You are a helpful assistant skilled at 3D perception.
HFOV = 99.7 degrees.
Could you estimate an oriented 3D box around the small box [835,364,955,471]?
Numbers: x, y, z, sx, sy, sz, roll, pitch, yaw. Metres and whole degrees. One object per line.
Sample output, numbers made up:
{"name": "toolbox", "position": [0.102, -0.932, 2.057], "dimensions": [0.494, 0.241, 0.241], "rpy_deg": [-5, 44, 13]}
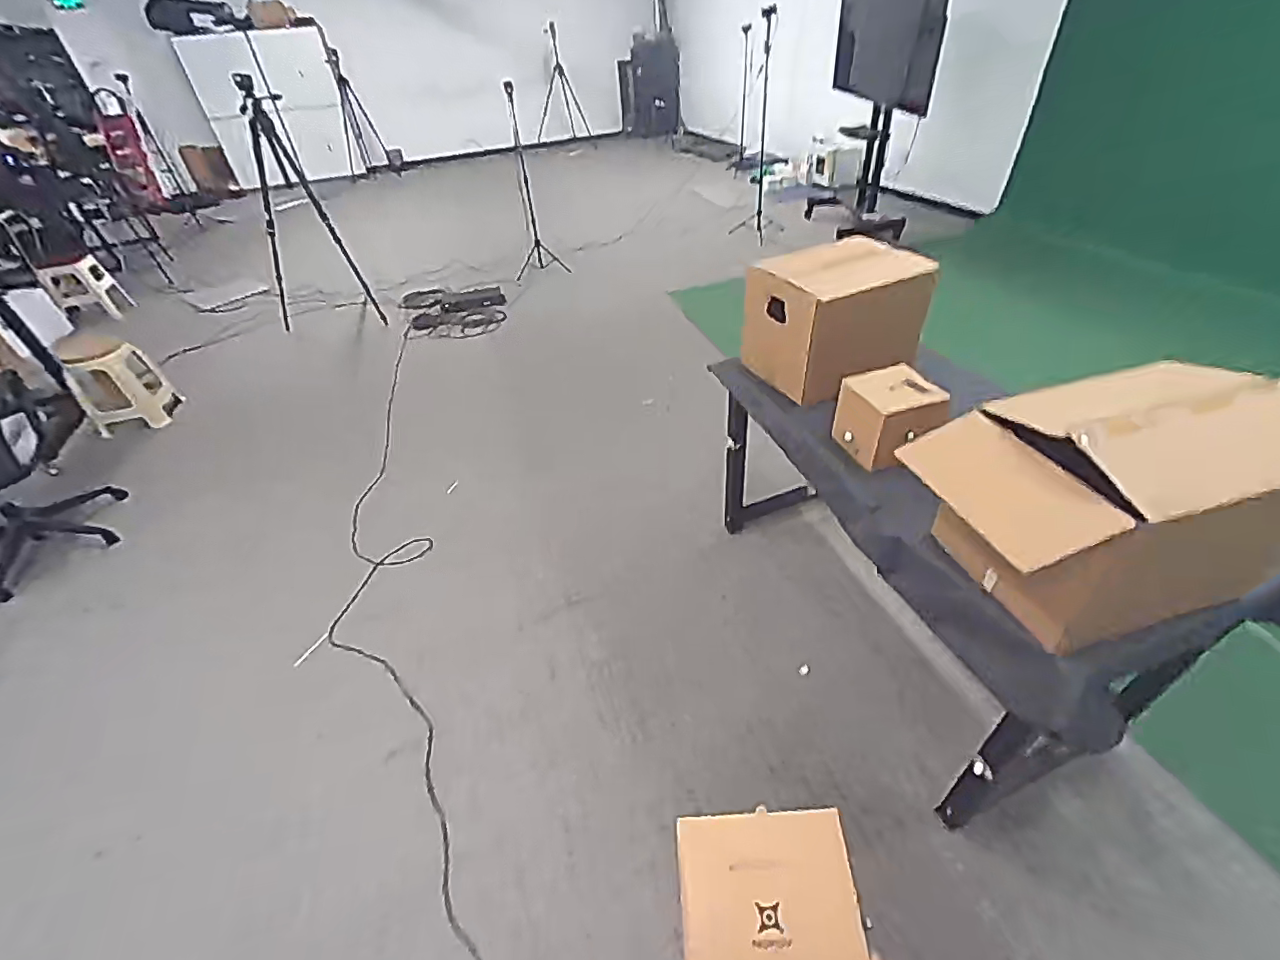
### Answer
{"name": "small box", "position": [0.588, -0.147, 1.272], "dimensions": [0.179, 0.176, 0.168], "rpy_deg": [-15, 42, -10]}
